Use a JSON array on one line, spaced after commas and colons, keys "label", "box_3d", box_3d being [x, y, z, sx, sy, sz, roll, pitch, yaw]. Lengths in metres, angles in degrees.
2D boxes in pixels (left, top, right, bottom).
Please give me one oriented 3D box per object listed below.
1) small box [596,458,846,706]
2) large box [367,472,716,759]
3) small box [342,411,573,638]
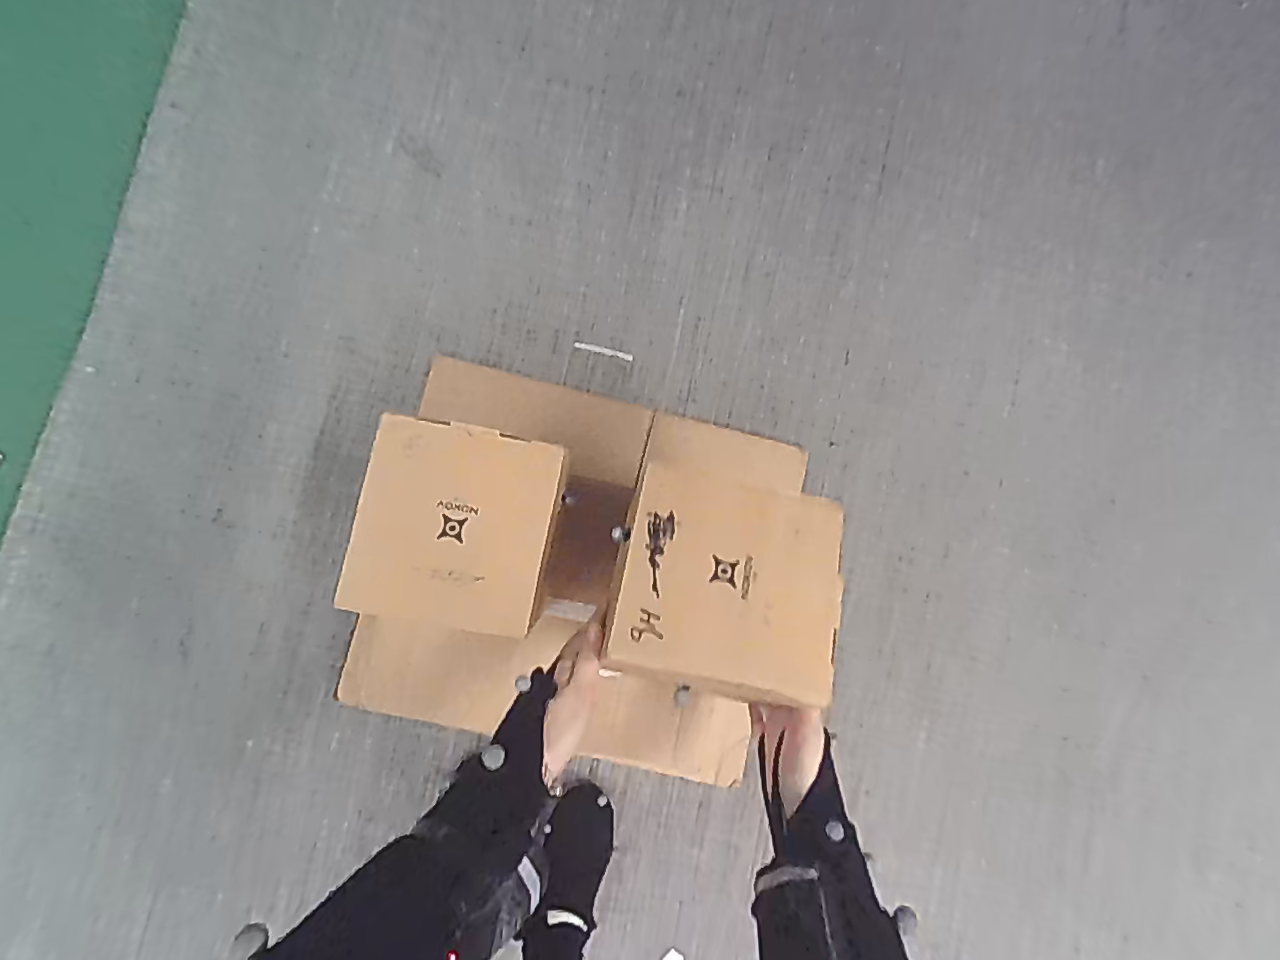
[{"label": "small box", "box_3d": [0.066, 0.103, 0.504, 0.179, 0.176, 0.168, 14, 67, -4]}, {"label": "large box", "box_3d": [-0.104, 0.160, 0.788, 0.408, 0.320, 0.320, 12, 84, -5]}, {"label": "small box", "box_3d": [-0.164, 0.047, 0.548, 0.168, 0.176, 0.179, 10, 83, -3]}]
